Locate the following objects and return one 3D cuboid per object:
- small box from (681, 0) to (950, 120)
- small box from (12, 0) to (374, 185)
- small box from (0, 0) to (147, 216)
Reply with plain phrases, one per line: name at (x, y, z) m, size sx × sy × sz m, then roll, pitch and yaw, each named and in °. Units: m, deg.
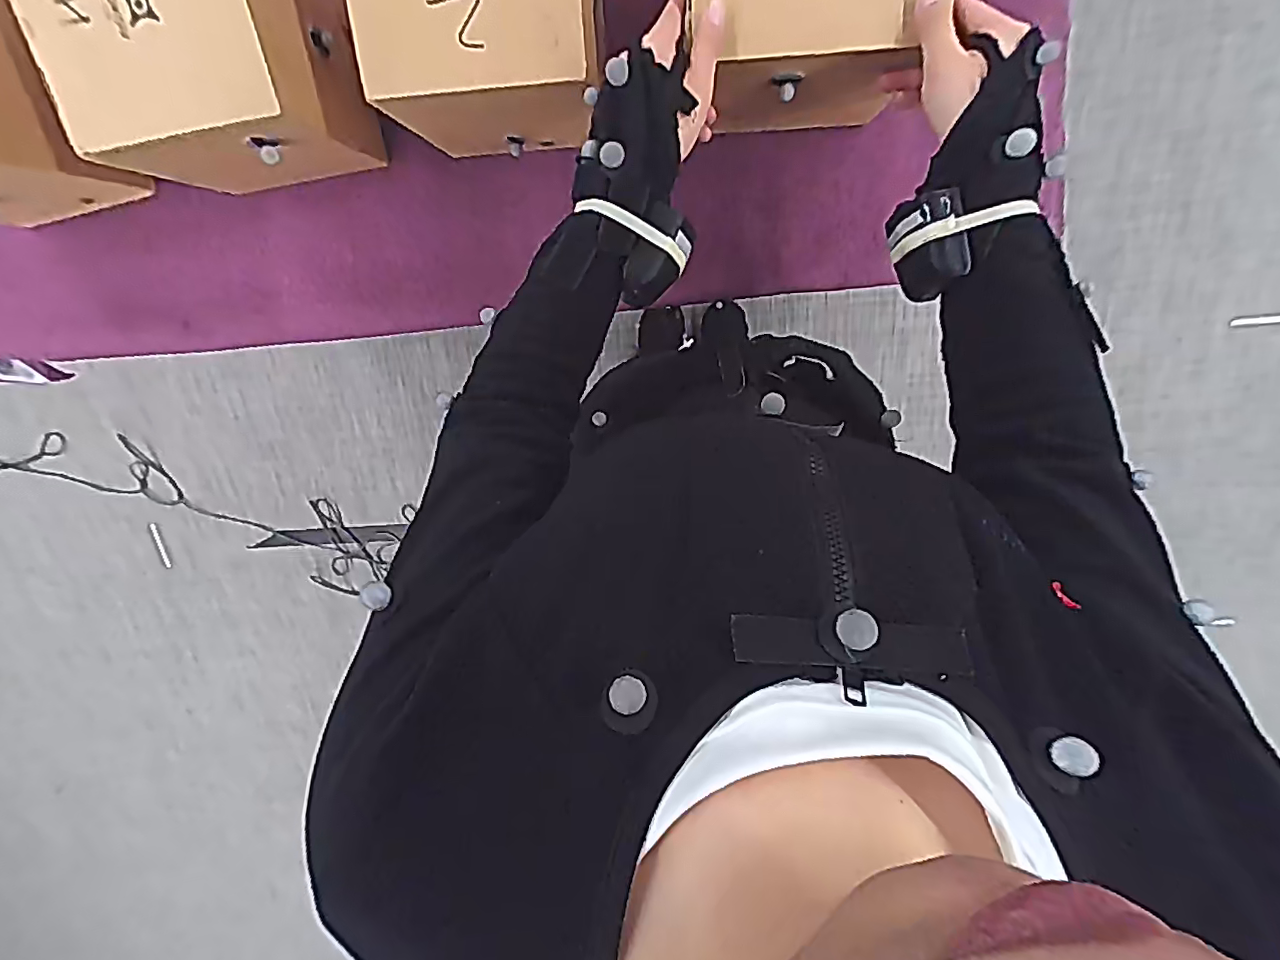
small box at (0.120, -0.397, 0.415) m, size 0.179 × 0.176 × 0.168 m, roll 0°, pitch 108°, yaw 3°
small box at (-0.355, -0.367, 0.457) m, size 0.179 × 0.176 × 0.168 m, roll -7°, pitch 108°, yaw 6°
small box at (-0.611, -0.347, 0.481) m, size 0.168 × 0.176 × 0.179 m, roll -10°, pitch 108°, yaw 7°
